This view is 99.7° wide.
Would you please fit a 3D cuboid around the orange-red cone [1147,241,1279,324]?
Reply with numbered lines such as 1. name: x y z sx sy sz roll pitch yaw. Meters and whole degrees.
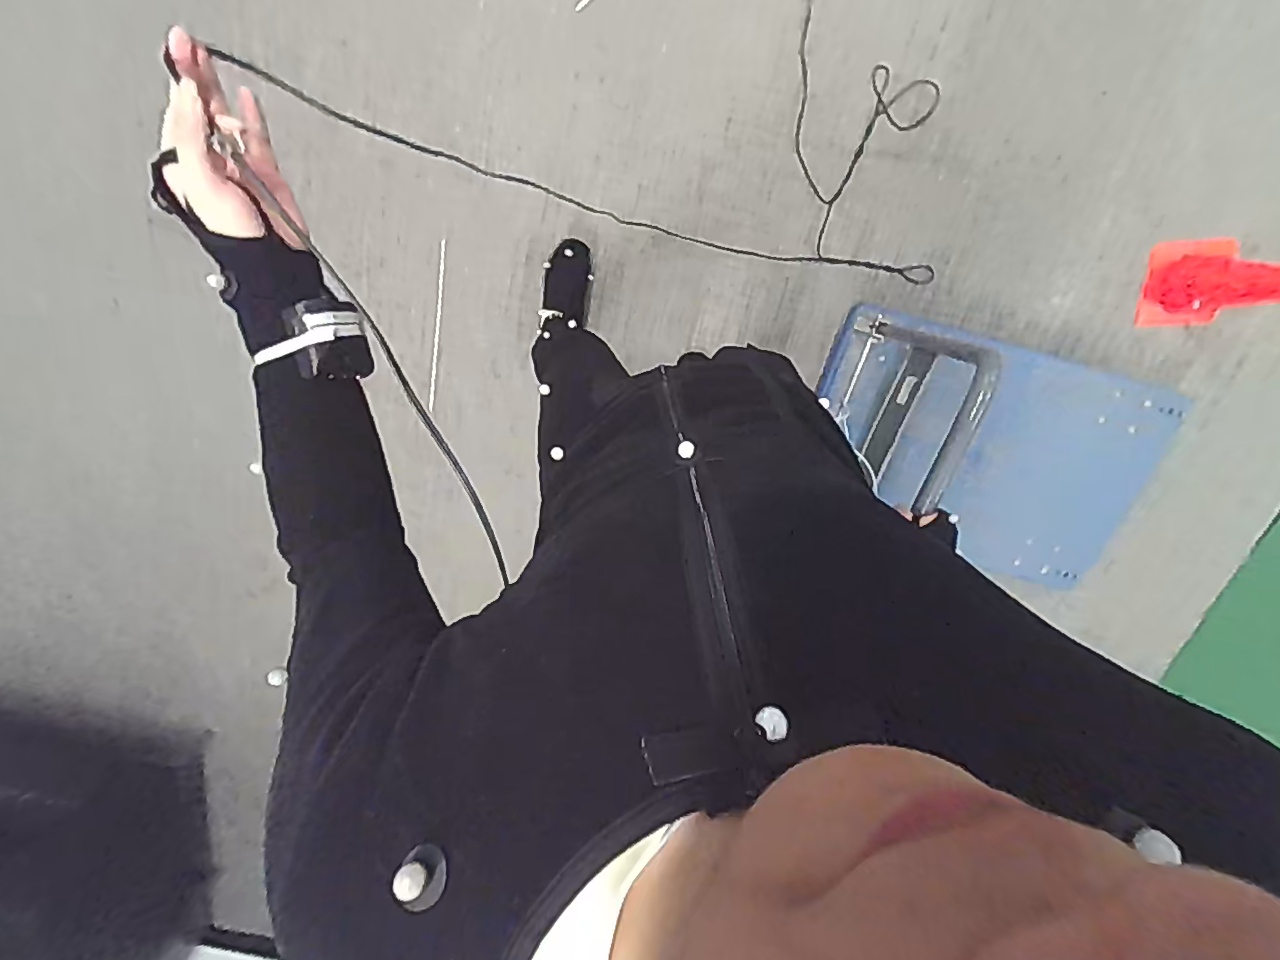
1. orange-red cone: 1.397 -0.443 1.209 0.198 0.360 0.199 -1 108 4
